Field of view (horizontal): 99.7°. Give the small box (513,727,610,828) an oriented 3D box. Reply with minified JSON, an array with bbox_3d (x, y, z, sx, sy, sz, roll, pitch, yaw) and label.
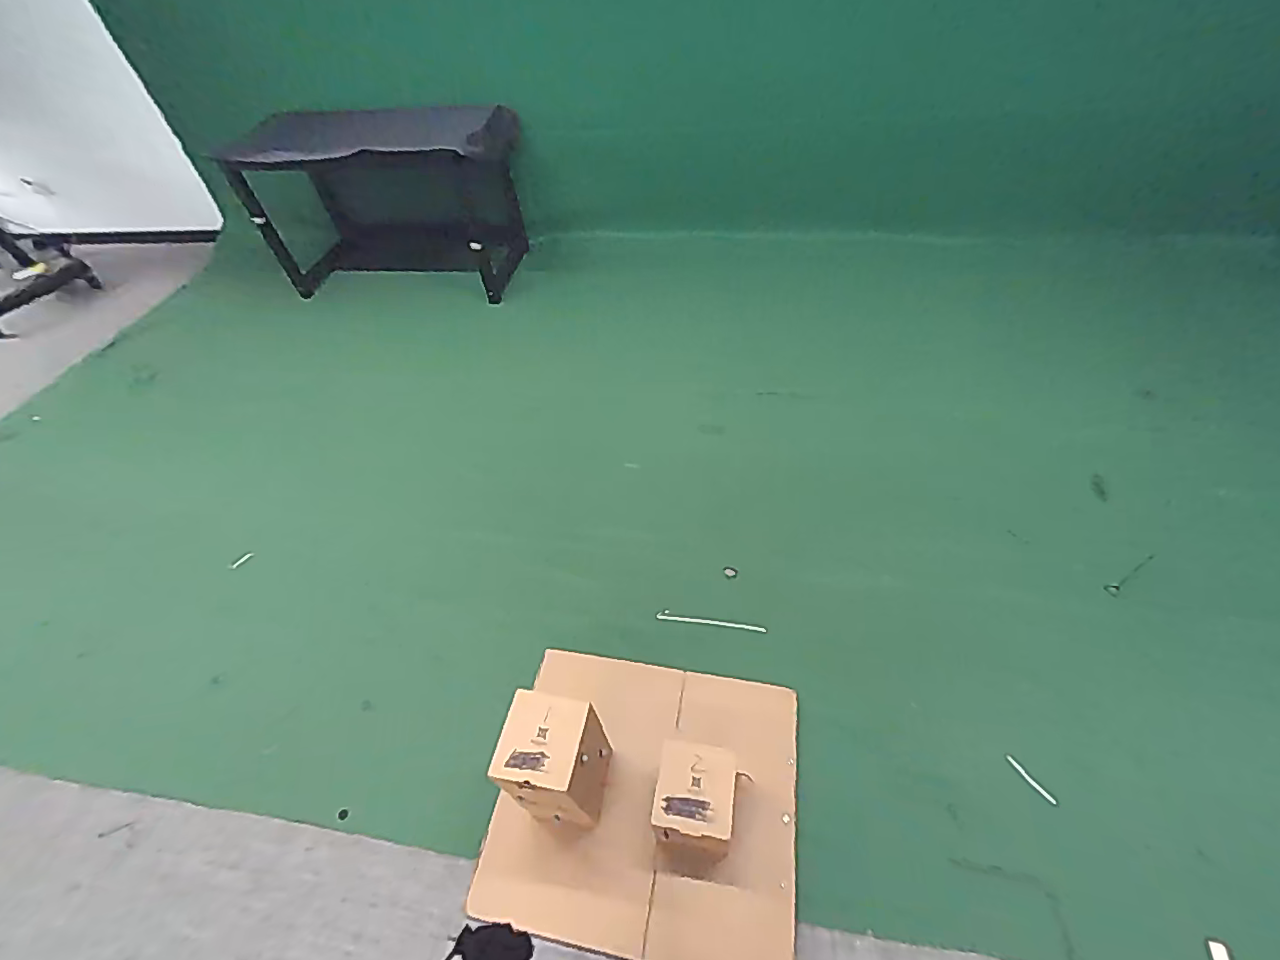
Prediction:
[{"bbox_3d":[-0.172,0.678,1.252,0.168,0.176,0.179,4,49,11],"label":"small box"}]

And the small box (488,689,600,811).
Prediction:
[{"bbox_3d":[-0.188,0.568,1.131,0.168,0.176,0.179,5,48,12],"label":"small box"}]
